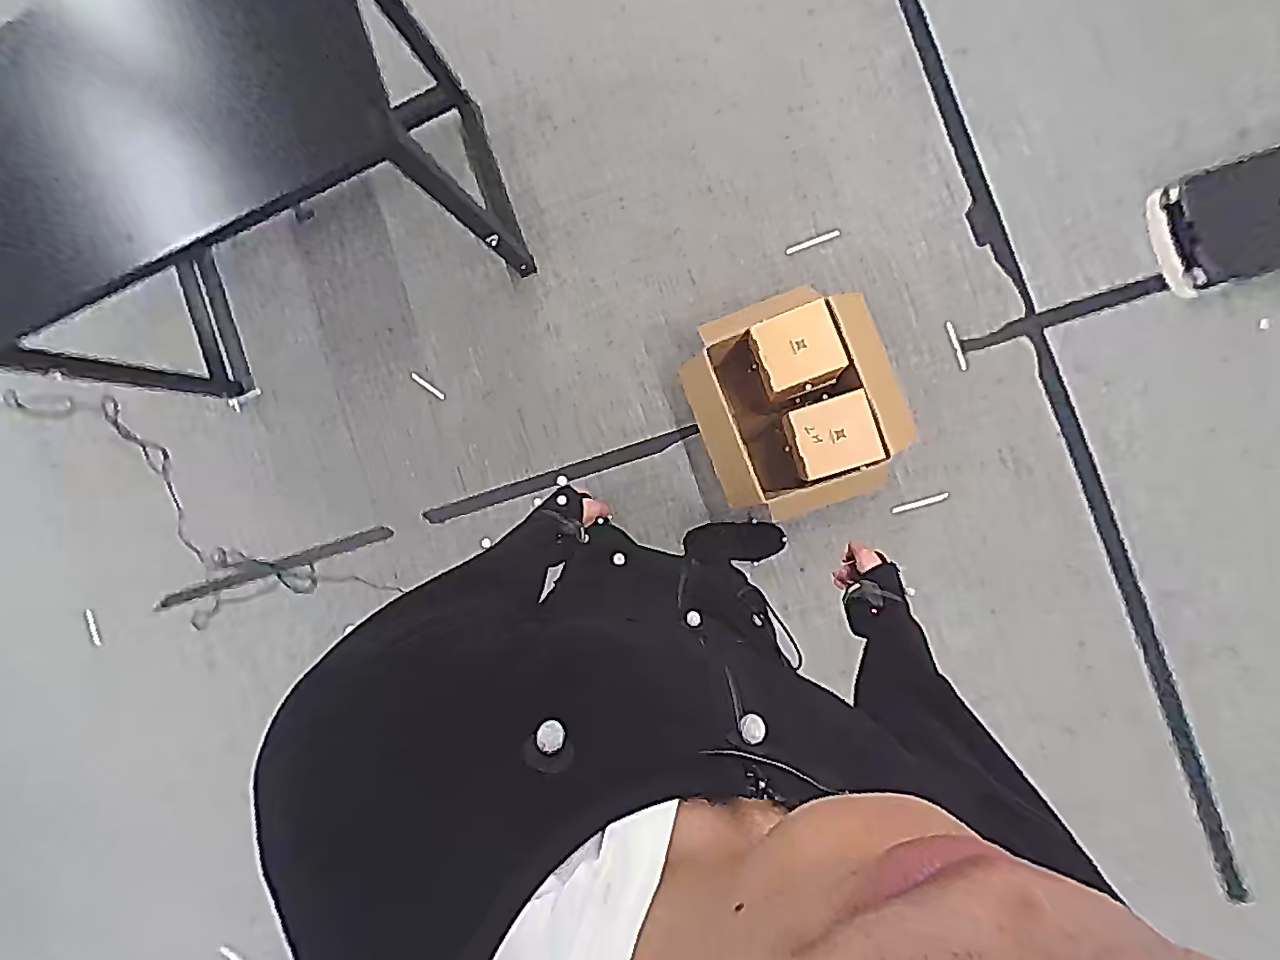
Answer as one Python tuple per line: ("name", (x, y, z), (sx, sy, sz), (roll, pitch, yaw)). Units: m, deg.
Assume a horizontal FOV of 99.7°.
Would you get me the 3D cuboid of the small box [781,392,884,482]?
("small box", (0.450, -0.098, 1.289), (0.179, 0.176, 0.168), (-17, 88, 10))
